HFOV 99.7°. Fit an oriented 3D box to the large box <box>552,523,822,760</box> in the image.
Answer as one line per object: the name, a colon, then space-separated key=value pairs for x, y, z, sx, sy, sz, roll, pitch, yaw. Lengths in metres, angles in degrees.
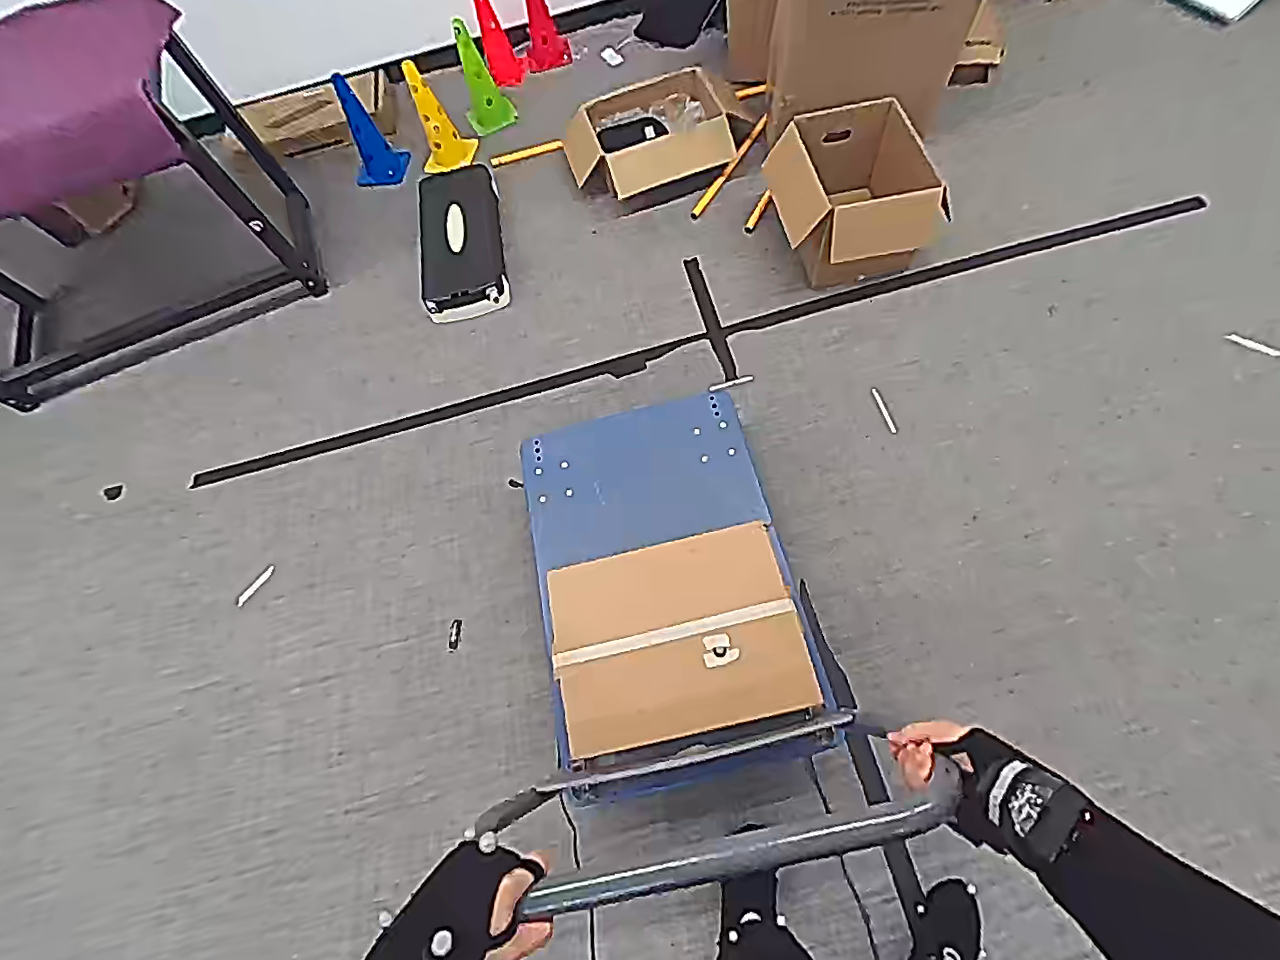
large box: x=0.080 y=0.322 z=1.045 sx=0.408 sy=0.320 sz=0.320 roll=-14 pitch=65 yaw=1
